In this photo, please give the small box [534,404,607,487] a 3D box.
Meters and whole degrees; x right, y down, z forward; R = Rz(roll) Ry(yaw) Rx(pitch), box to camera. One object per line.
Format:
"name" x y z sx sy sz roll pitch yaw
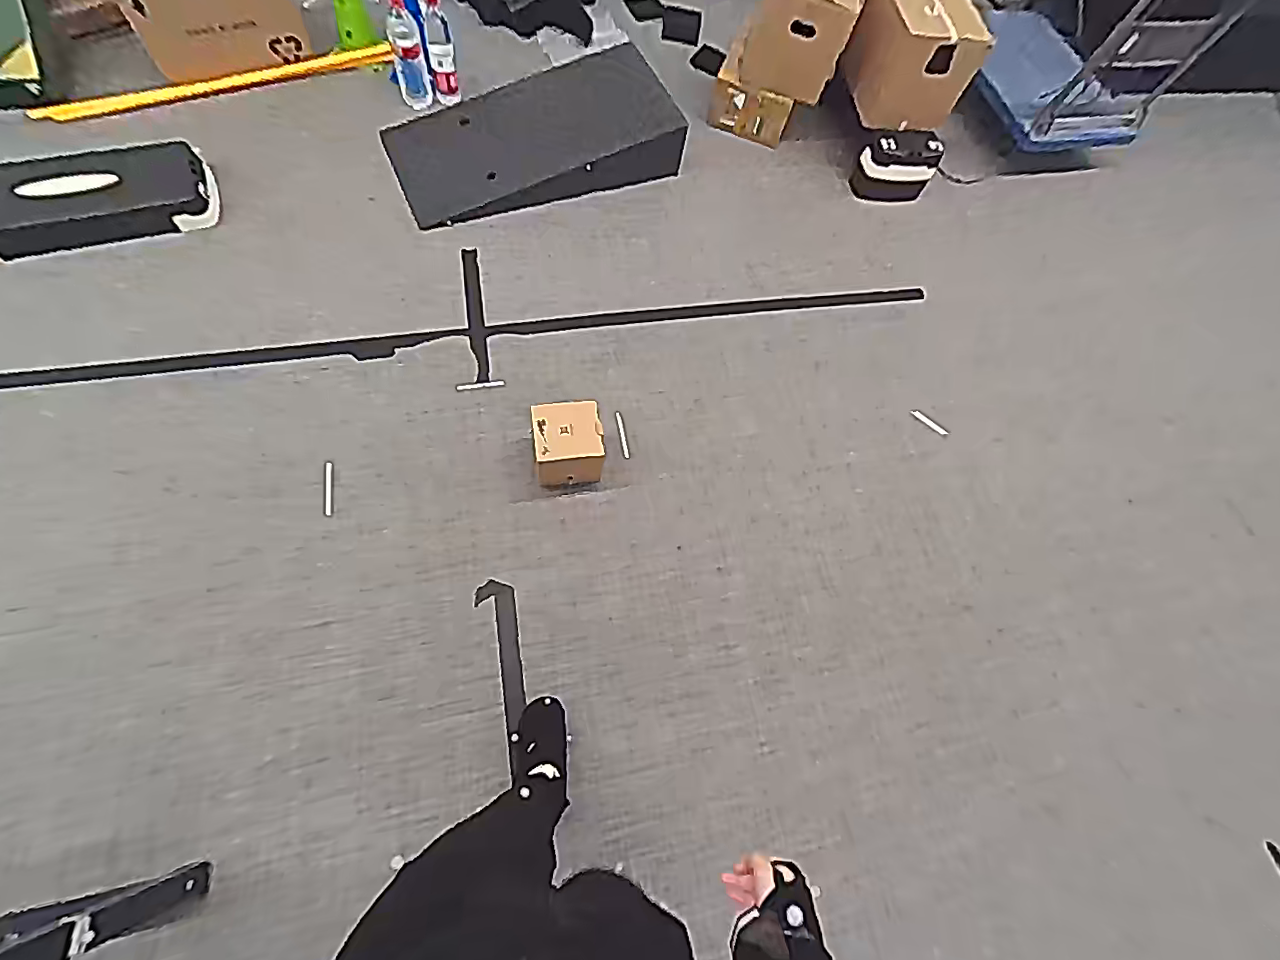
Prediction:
"small box" -0.194 -0.090 1.463 0.179 0.176 0.168 -5 68 -12
